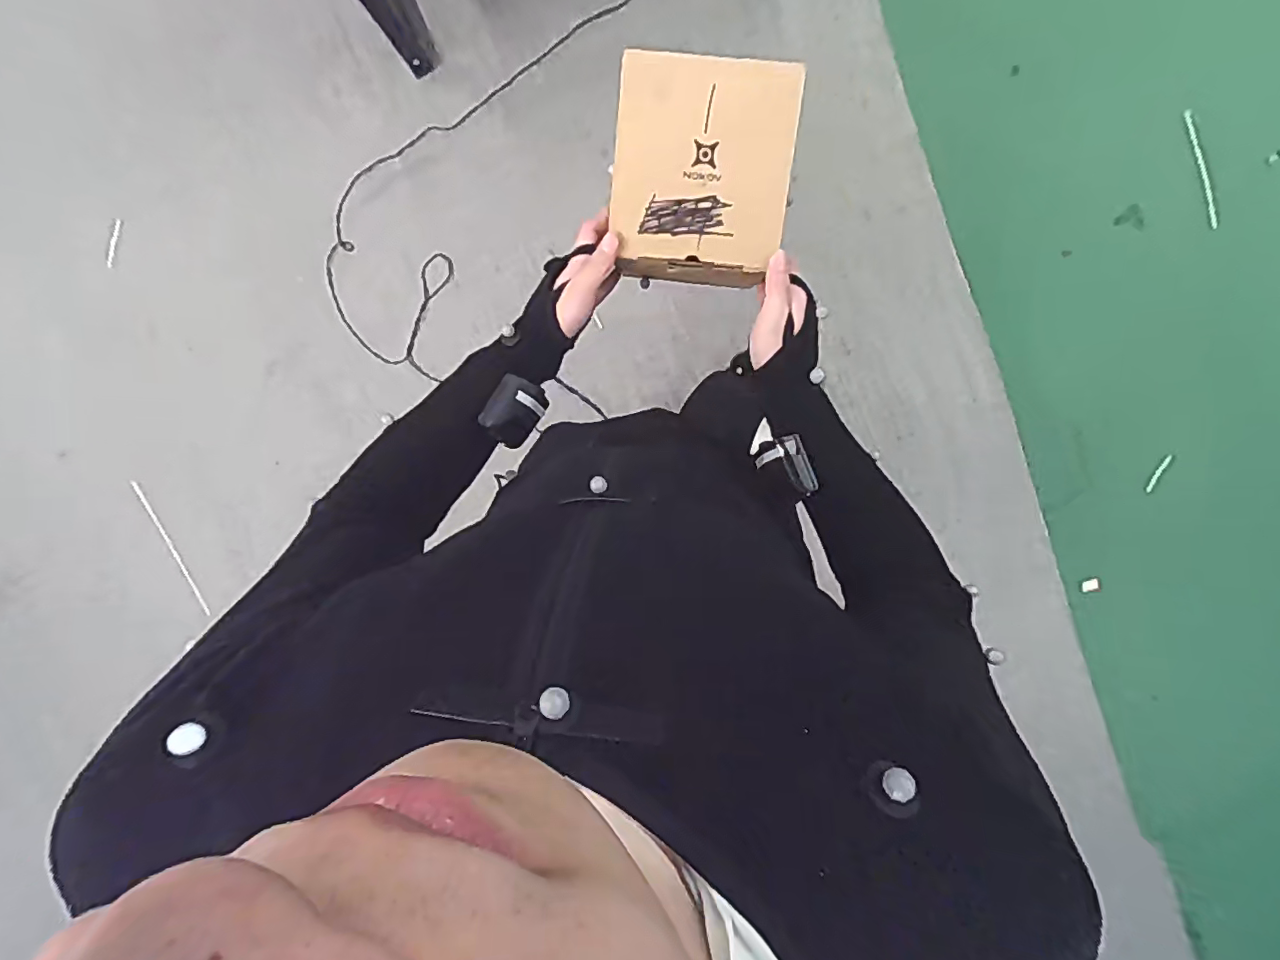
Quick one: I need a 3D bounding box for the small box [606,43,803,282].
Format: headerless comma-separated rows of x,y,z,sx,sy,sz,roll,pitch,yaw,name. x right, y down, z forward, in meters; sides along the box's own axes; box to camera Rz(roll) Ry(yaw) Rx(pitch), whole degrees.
0.059,-0.314,0.573,0.168,0.176,0.179,5,103,1,small box
